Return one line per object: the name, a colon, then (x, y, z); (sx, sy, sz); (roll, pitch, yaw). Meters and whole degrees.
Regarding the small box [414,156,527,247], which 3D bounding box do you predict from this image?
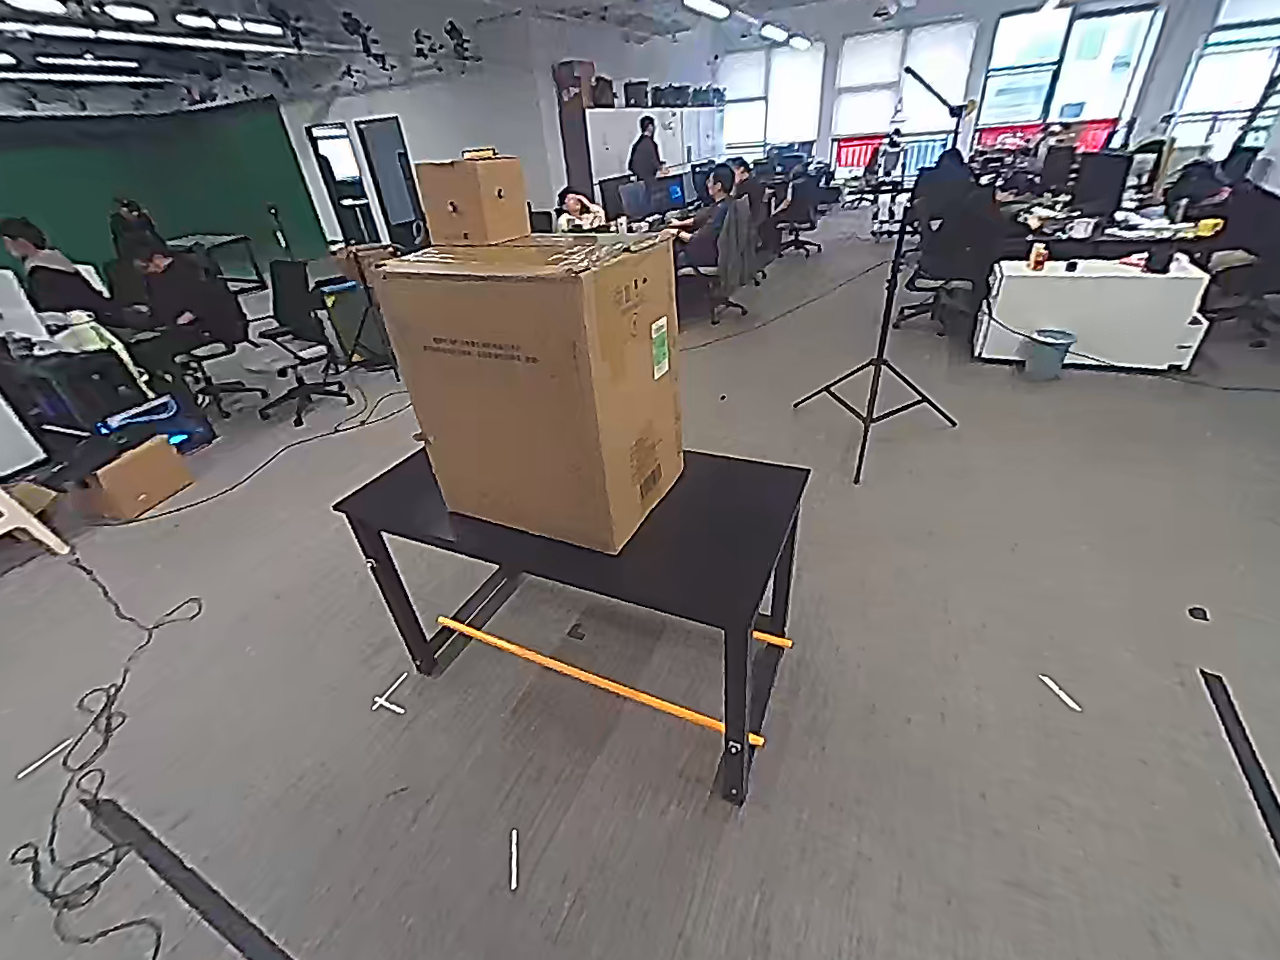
small box: (-0.377, -0.637, 1.242); (0.168, 0.176, 0.179); (9, 34, 20)
